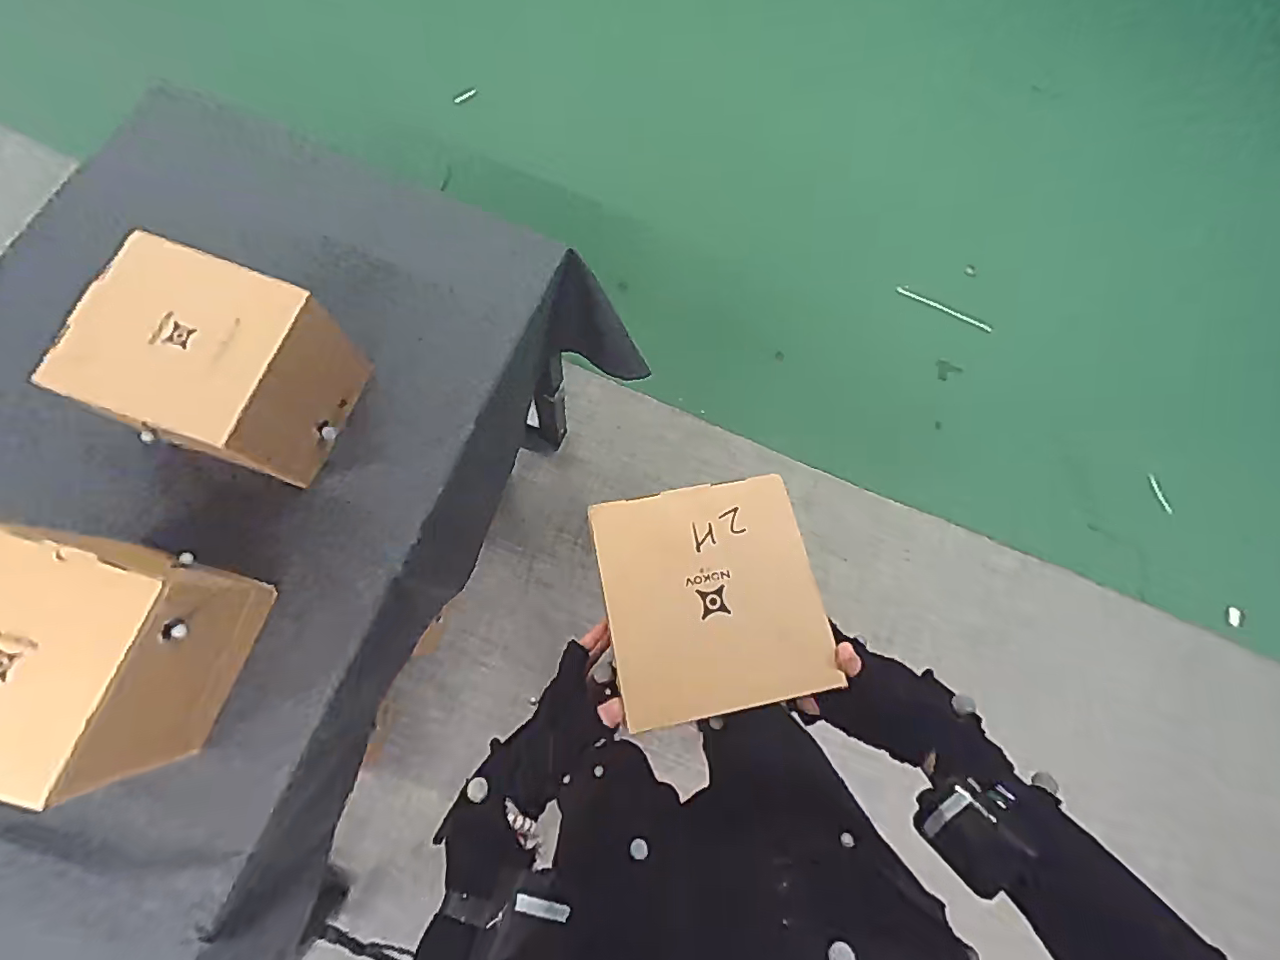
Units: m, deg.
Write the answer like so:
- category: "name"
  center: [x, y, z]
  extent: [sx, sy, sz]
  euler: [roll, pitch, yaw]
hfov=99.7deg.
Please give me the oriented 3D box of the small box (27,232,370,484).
- category: "small box"
  center: [-0.422, -0.109, 0.556]
  extent: [0.179, 0.176, 0.168]
  euler: [20, 76, -1]

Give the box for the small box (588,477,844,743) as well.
- category: "small box"
  center: [0.051, 0.119, 0.486]
  extent: [0.168, 0.176, 0.179]
  euler: [-10, 69, -6]

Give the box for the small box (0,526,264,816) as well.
- category: "small box"
  center: [-0.489, 0.156, 0.485]
  extent: [0.168, 0.176, 0.179]
  euler: [18, 75, -1]

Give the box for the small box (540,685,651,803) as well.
- category: "small box"
  center: [-0.099, 0.573, 1.194]
  extent: [0.168, 0.176, 0.179]
  euler: [-38, 65, -5]

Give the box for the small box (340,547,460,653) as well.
- category: "small box"
  center: [-0.519, 0.266, 1.204]
  extent: [0.168, 0.176, 0.179]
  euler: [21, 76, -1]
